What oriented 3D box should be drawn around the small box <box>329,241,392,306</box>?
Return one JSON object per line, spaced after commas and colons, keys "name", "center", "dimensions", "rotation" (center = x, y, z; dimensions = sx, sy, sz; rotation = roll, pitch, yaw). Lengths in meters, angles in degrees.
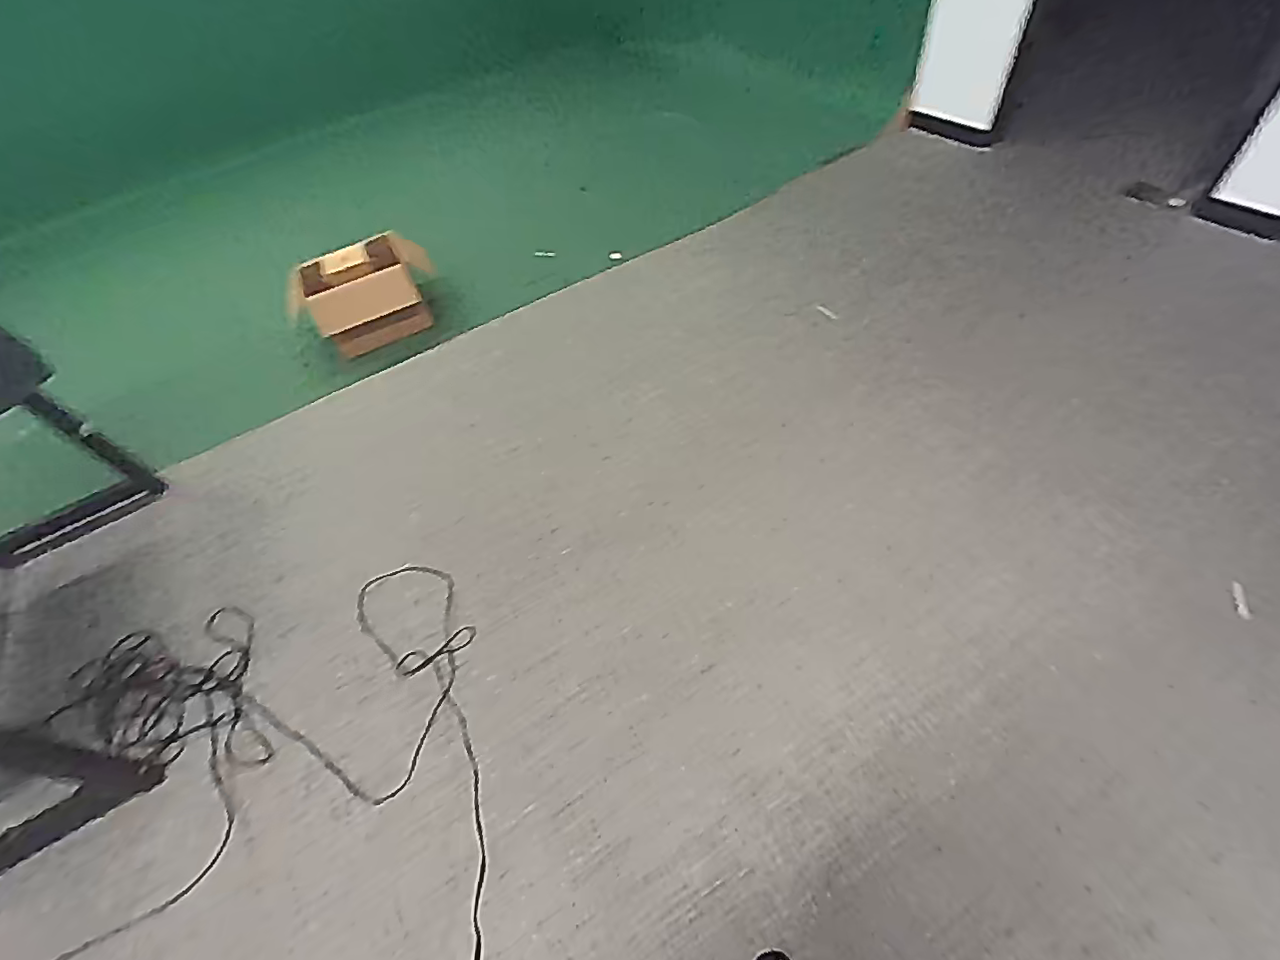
{"name": "small box", "center": [-1.149, -0.848, 2.228], "dimensions": [0.168, 0.176, 0.179], "rotation": [-25, 52, -10]}
